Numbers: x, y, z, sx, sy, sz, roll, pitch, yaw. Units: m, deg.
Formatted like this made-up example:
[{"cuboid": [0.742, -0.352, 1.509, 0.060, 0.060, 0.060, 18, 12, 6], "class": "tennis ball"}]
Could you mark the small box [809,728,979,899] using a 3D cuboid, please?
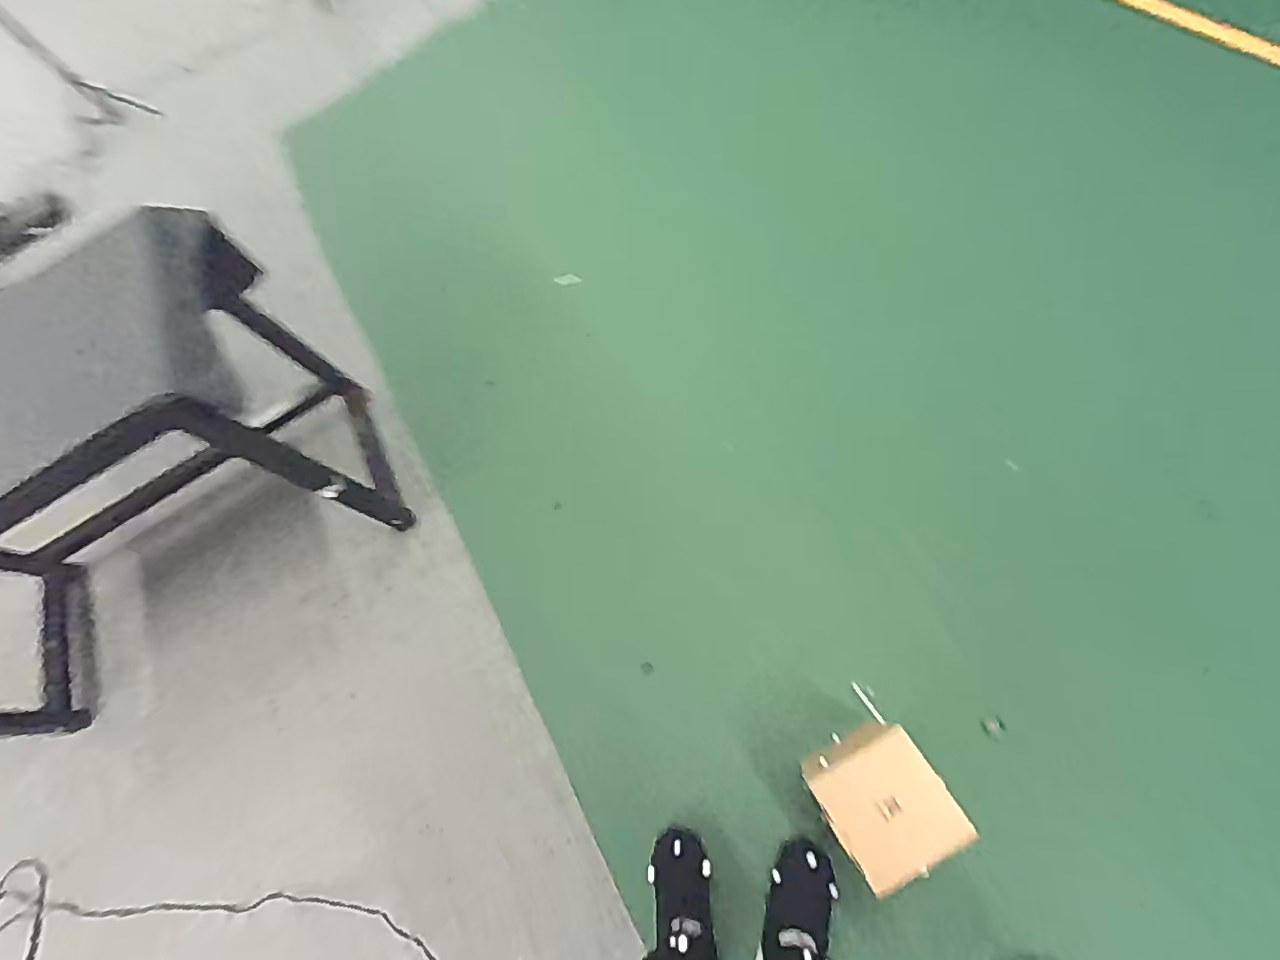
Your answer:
[{"cuboid": [0.394, 0.523, 0.880, 0.179, 0.176, 0.168, -32, 64, 0], "class": "small box"}]
